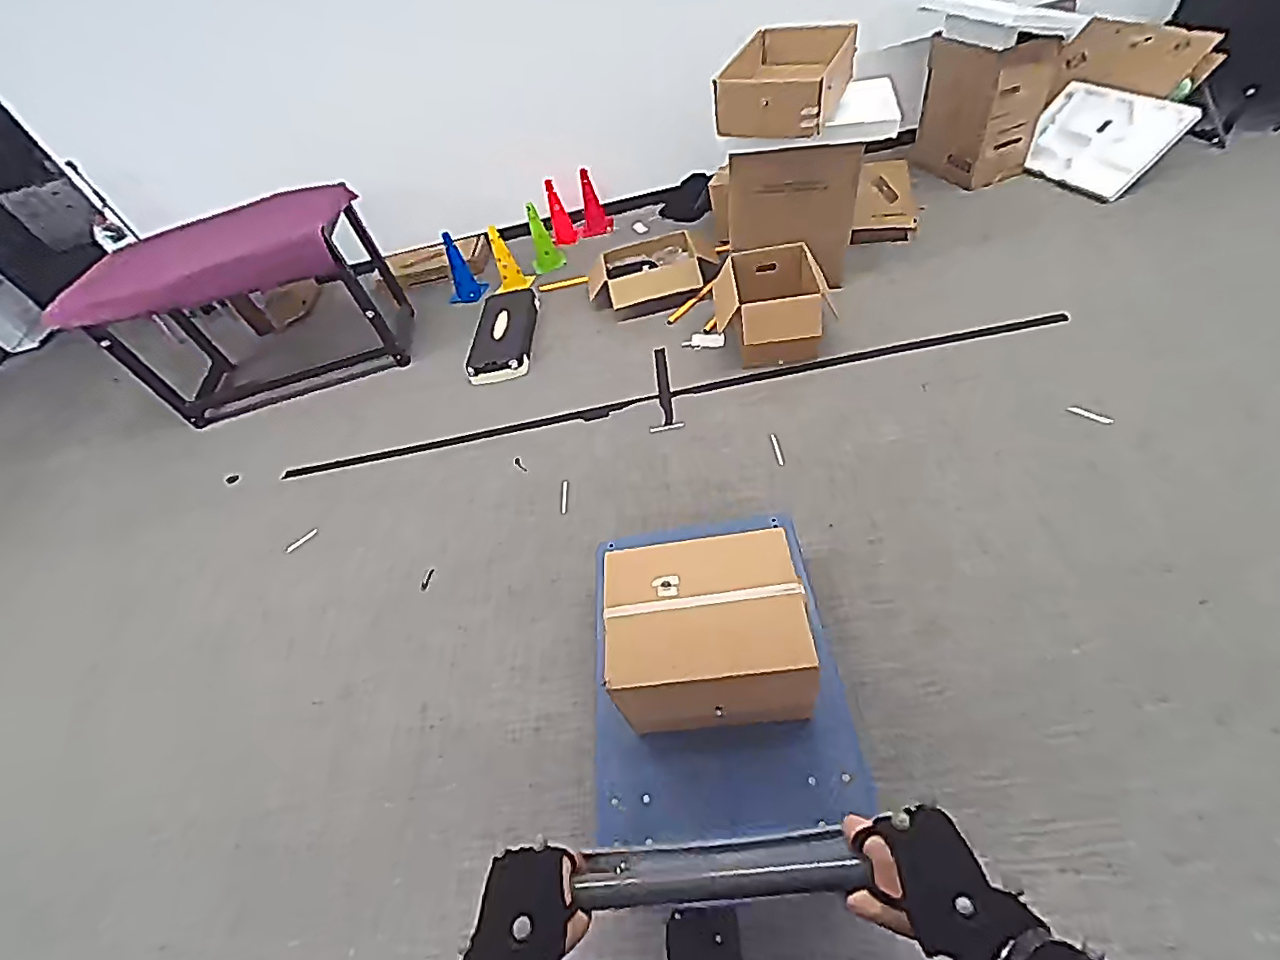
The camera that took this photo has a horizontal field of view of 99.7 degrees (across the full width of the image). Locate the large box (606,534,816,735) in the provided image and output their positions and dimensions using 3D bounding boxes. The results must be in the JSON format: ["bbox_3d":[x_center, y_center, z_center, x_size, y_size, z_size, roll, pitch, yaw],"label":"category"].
[{"bbox_3d":[0.157,0.362,1.234,0.408,0.320,0.320,-10,48,8],"label":"large box"}]
